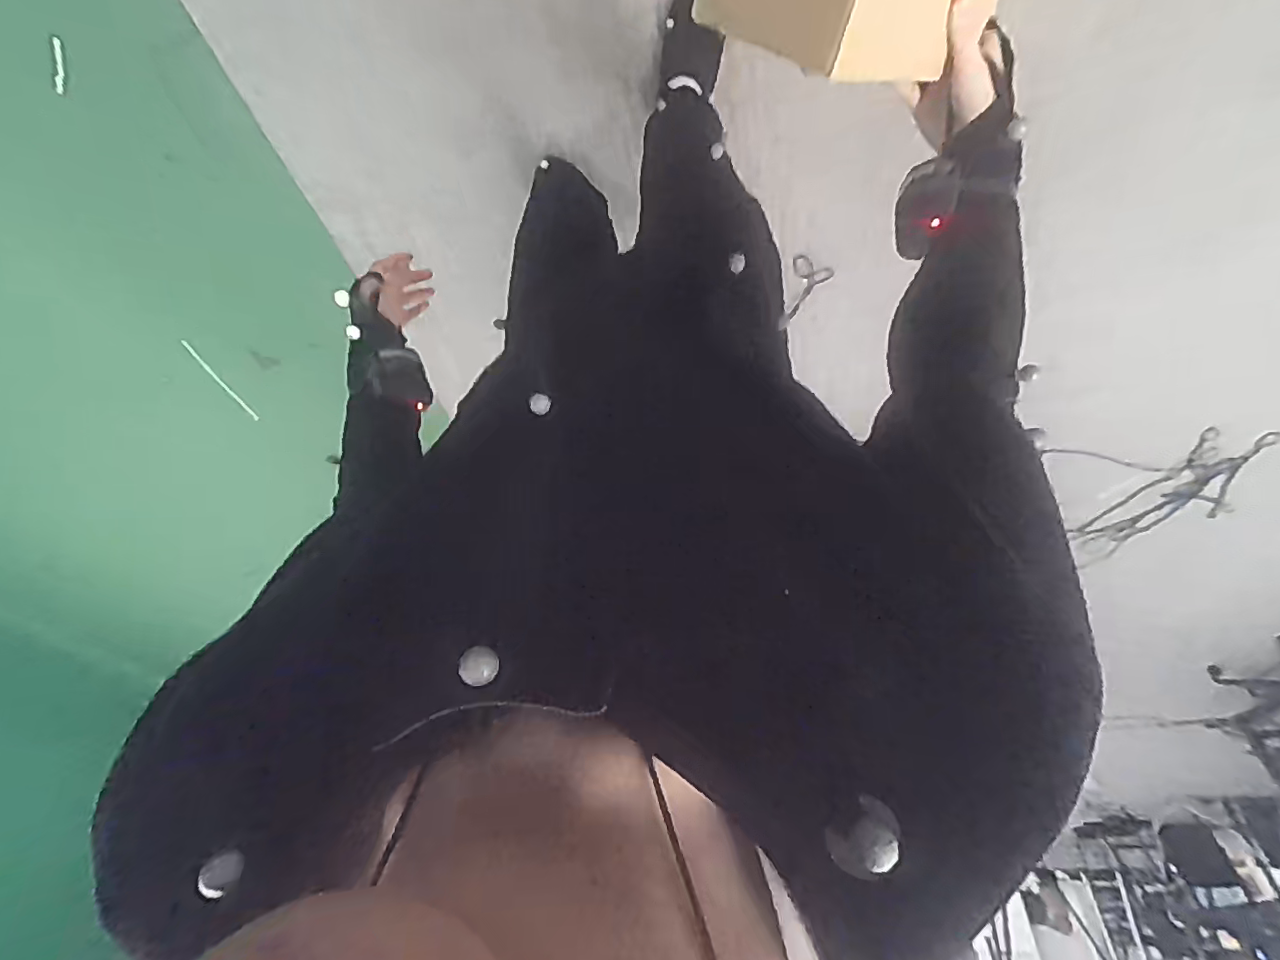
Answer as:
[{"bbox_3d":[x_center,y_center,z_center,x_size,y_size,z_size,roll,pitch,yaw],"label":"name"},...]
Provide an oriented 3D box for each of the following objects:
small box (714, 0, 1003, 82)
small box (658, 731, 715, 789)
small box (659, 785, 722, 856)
[{"bbox_3d":[0.171,-0.421,0.397,0.168,0.176,0.179,-21,144,-26],"label":"small box"},{"bbox_3d":[0.157,0.950,1.806,0.179,0.176,0.168,-4,138,8],"label":"small box"},{"bbox_3d":[0.157,1.063,1.686,0.179,0.176,0.168,-5,138,8],"label":"small box"}]
